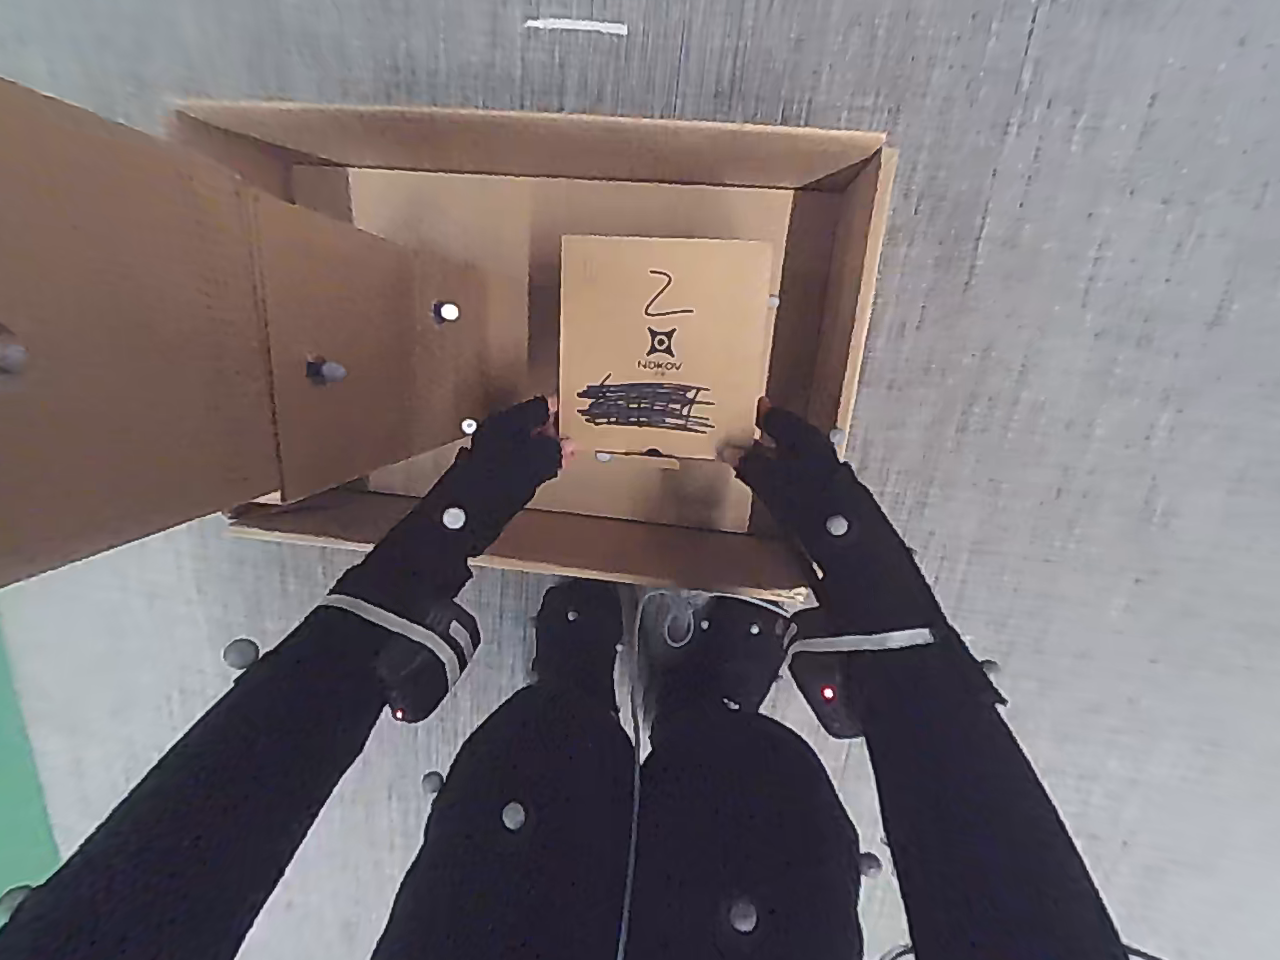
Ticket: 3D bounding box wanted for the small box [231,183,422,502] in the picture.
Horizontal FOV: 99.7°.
[{"bbox_3d":[-0.272,-0.098,0.385,0.168,0.176,0.179,6,105,4],"label":"small box"}]
